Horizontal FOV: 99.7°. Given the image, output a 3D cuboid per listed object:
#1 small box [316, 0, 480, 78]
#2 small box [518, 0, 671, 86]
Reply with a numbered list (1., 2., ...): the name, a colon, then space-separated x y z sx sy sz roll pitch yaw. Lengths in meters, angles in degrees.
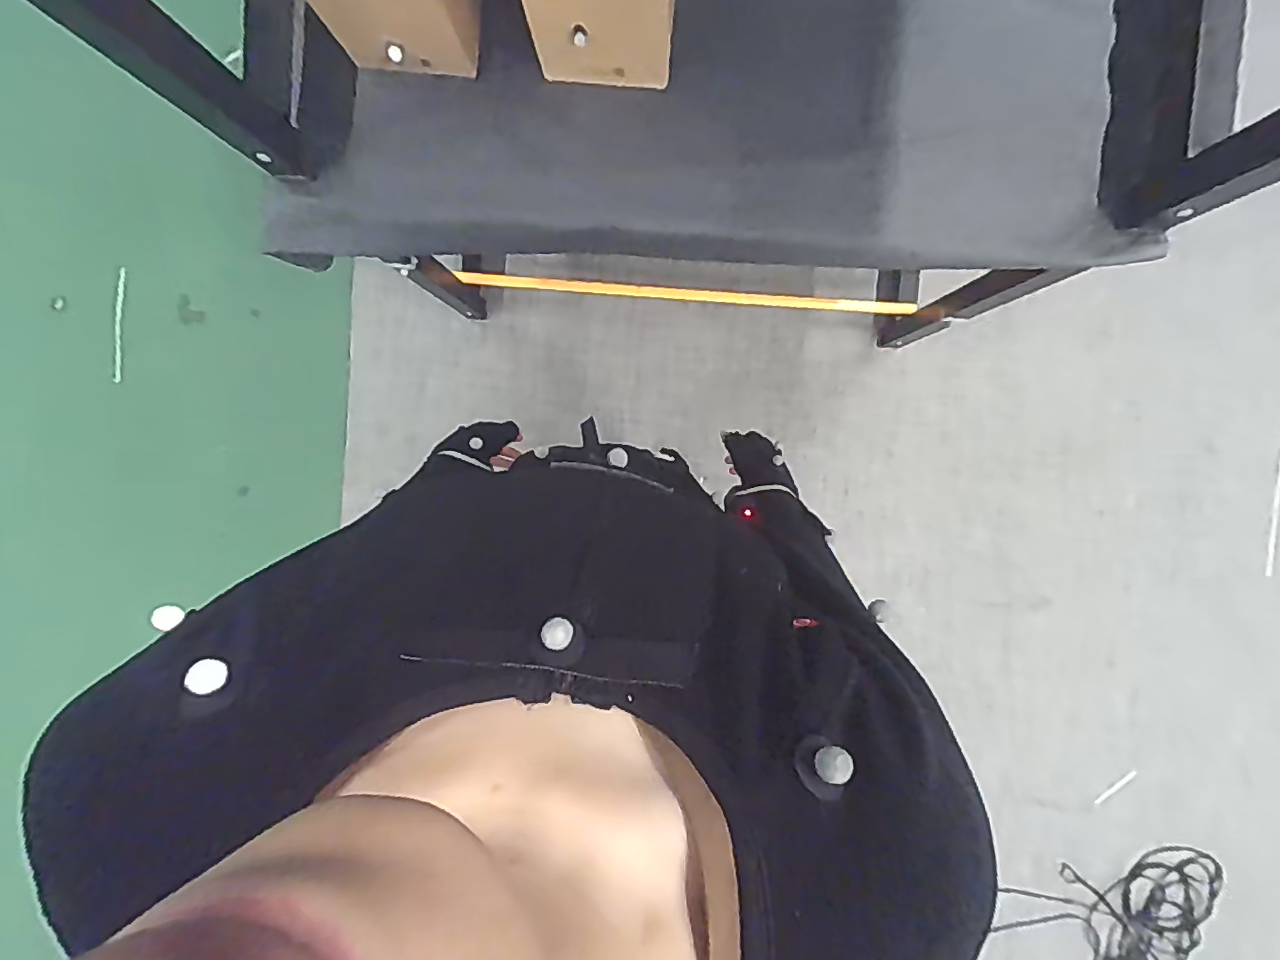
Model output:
1. small box: -0.298 -0.633 0.646 0.168 0.176 0.179 5 94 1
2. small box: -0.046 -0.612 0.643 0.168 0.176 0.179 5 93 1
